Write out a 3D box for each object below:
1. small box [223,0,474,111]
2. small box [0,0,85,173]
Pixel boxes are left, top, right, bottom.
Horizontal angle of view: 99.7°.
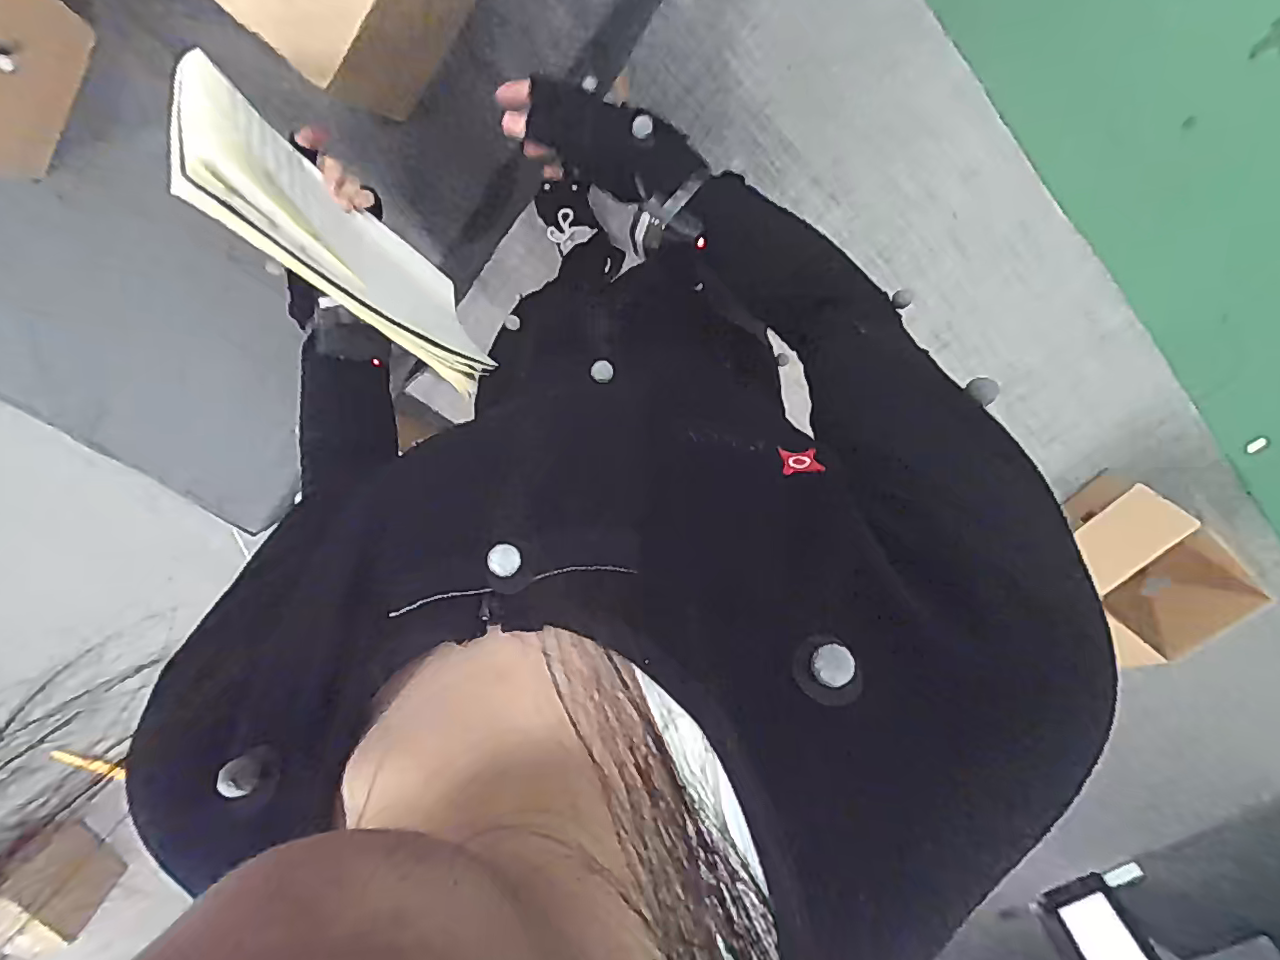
[{"bbox_3d":[-0.248,-0.446,0.440,0.168,0.176,0.179,39,112,-18],"label":"small box"},{"bbox_3d":[-0.650,-0.397,0.461,0.168,0.176,0.179,40,109,-20],"label":"small box"}]
